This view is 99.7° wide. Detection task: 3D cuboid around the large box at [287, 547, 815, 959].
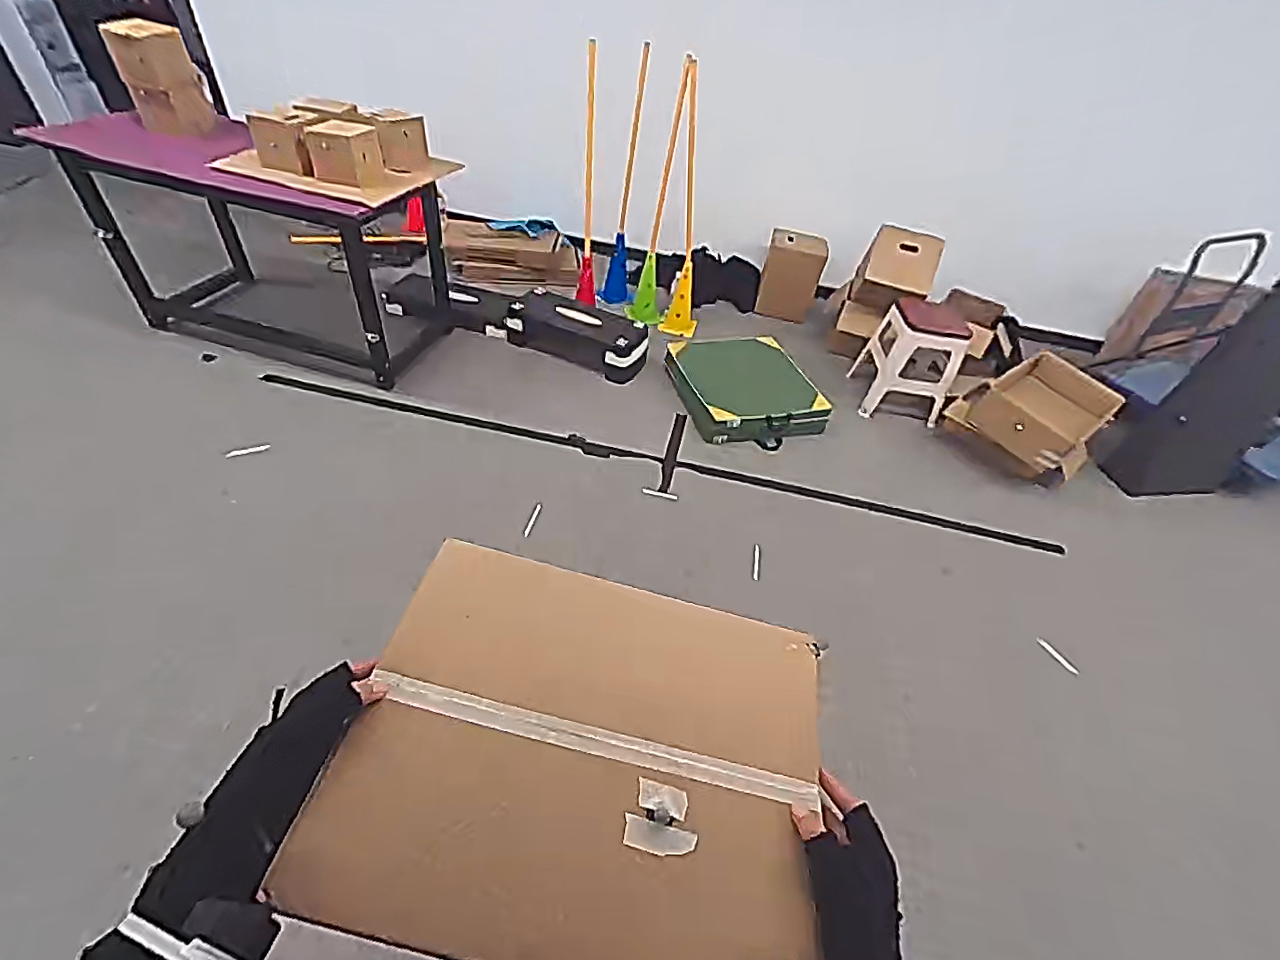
[{"bbox_3d":[-0.067,0.323,0.599,0.408,0.320,0.320,15,50,-1],"label":"large box"}]
